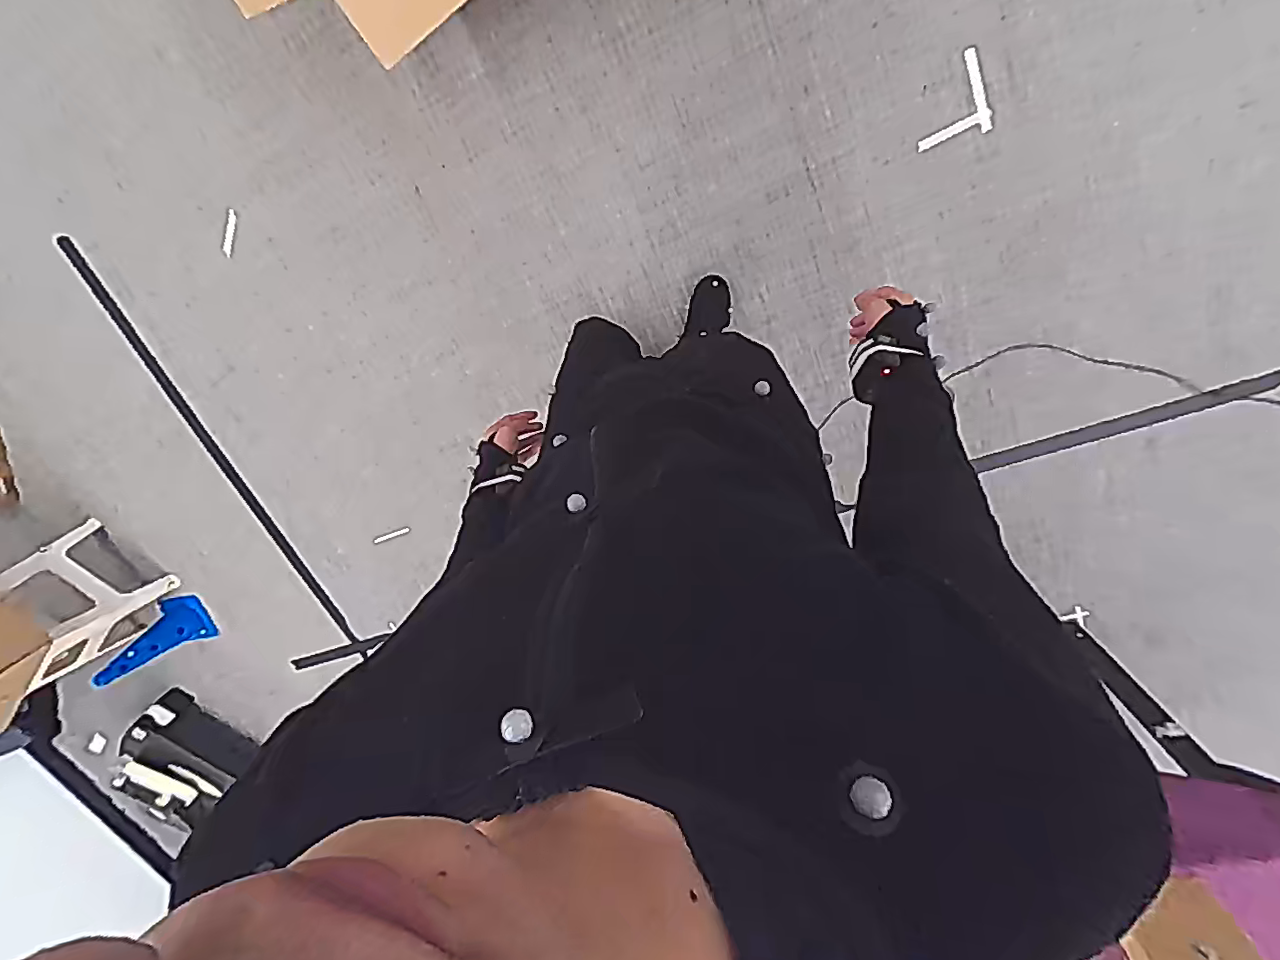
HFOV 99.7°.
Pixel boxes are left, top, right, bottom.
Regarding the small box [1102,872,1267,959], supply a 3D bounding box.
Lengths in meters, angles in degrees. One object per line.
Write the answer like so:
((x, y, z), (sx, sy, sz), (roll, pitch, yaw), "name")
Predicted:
((1.070, 0.912, 1.066), (0.179, 0.176, 0.168), (-21, 109, 15), "small box")
